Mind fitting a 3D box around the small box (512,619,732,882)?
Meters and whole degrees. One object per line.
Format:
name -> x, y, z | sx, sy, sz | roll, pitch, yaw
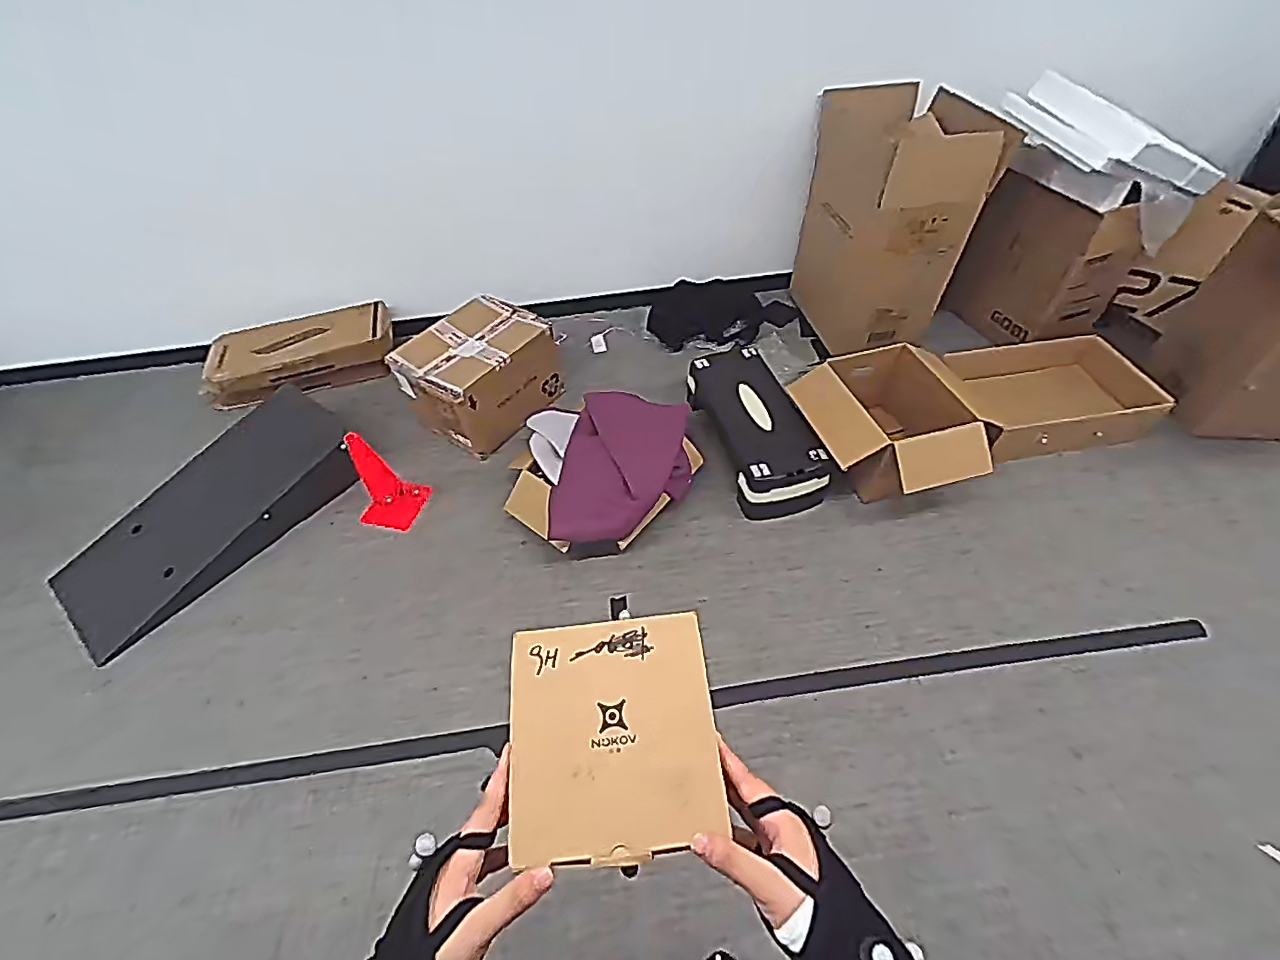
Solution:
small box -> -0.015, 0.244, 0.500 | 0.168, 0.176, 0.179 | -7, 60, -1
